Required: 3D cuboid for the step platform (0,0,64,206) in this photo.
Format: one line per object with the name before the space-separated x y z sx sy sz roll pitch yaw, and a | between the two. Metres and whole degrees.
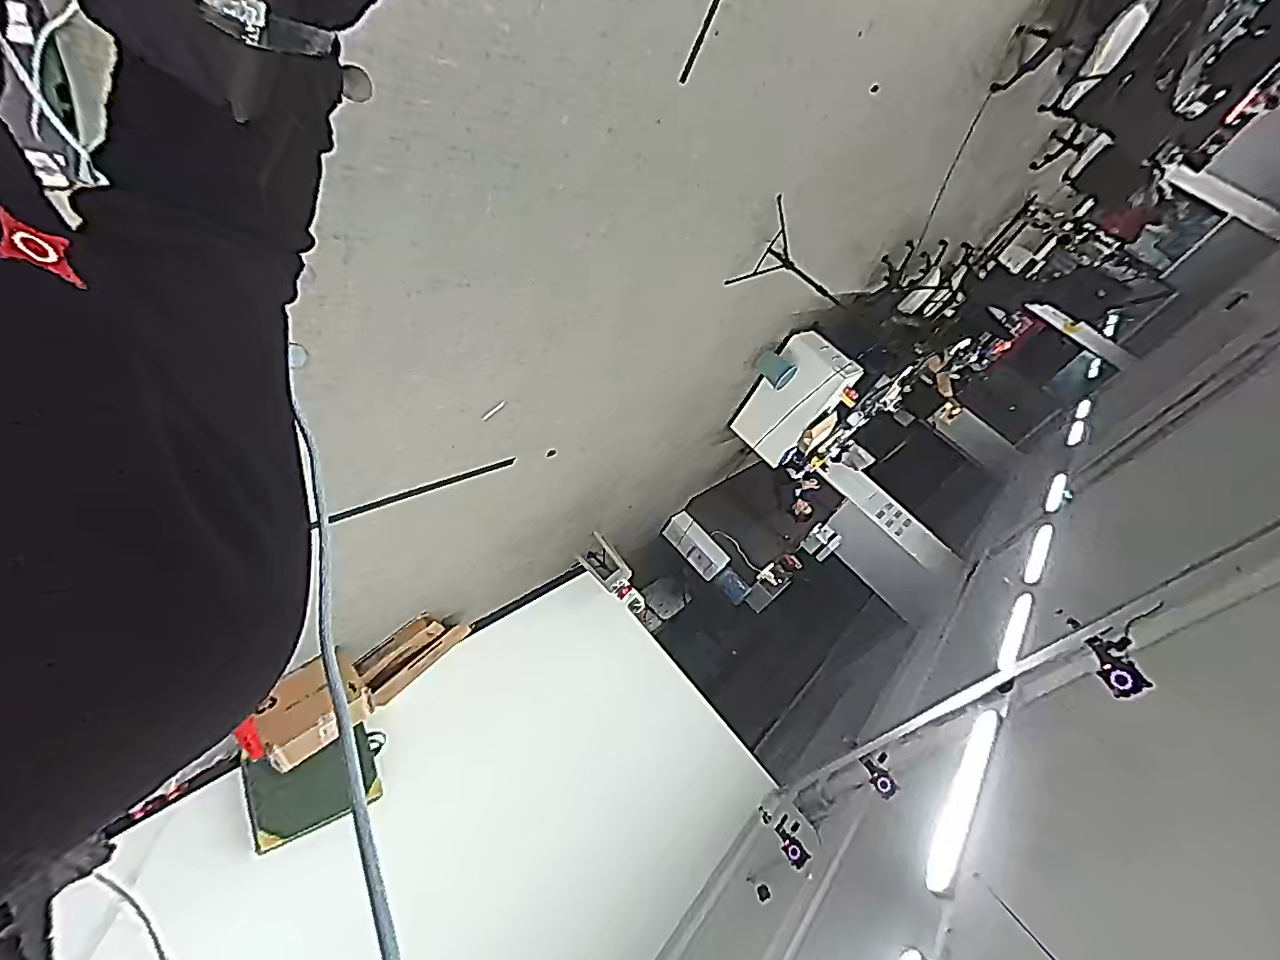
step platform | -1.125 -0.531 0.588 0.684 0.204 0.286 -17 148 -51
